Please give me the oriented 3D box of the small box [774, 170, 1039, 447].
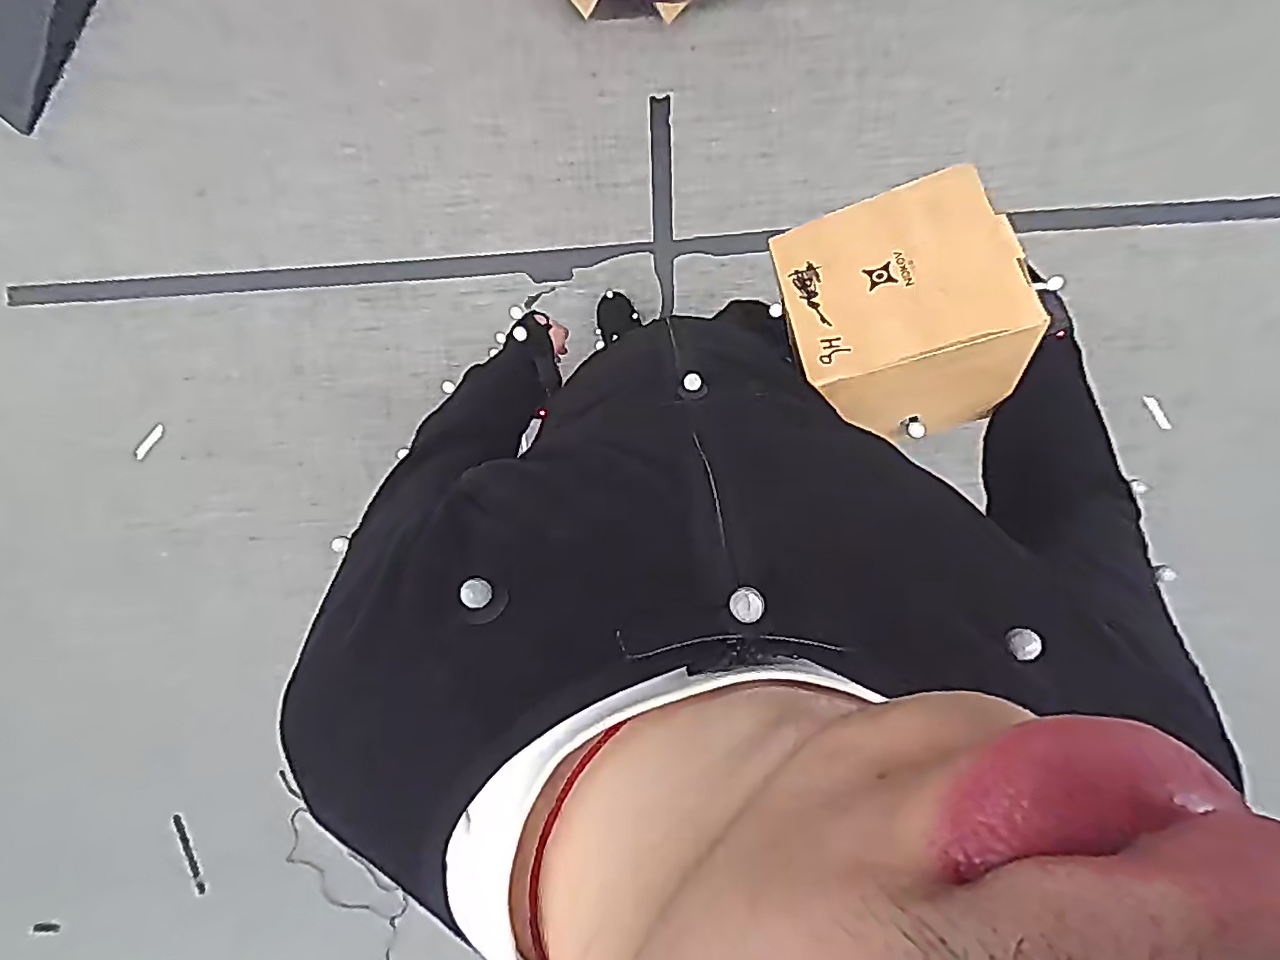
[{"bbox_3d":[0.244,-0.152,0.535,0.179,0.176,0.168,-14,66,17],"label":"small box"}]
